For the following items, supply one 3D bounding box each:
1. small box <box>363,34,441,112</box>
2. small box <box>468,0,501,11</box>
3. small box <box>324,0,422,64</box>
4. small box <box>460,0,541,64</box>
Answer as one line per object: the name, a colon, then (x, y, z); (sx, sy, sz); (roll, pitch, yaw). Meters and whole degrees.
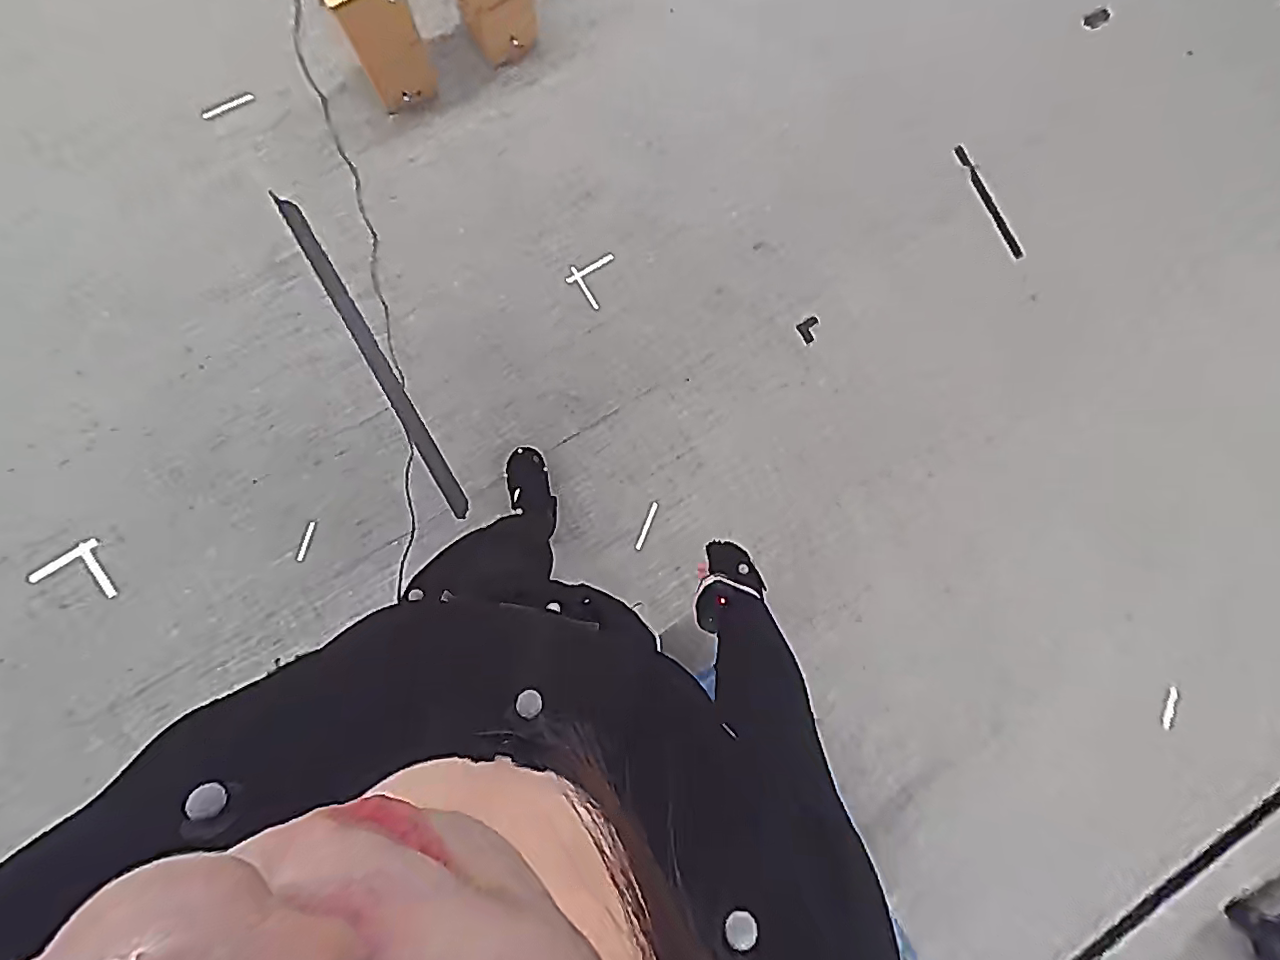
small box: (-0.664, -1.148, 1.453); (0.168, 0.176, 0.179); (-29, 90, -6)
small box: (-0.382, -1.323, 1.325); (0.179, 0.176, 0.168); (-33, 89, -7)
small box: (-0.656, -1.154, 1.291); (0.179, 0.176, 0.168); (-33, 89, -6)
small box: (-0.391, -1.313, 1.489); (0.168, 0.176, 0.179); (-32, 90, -6)
